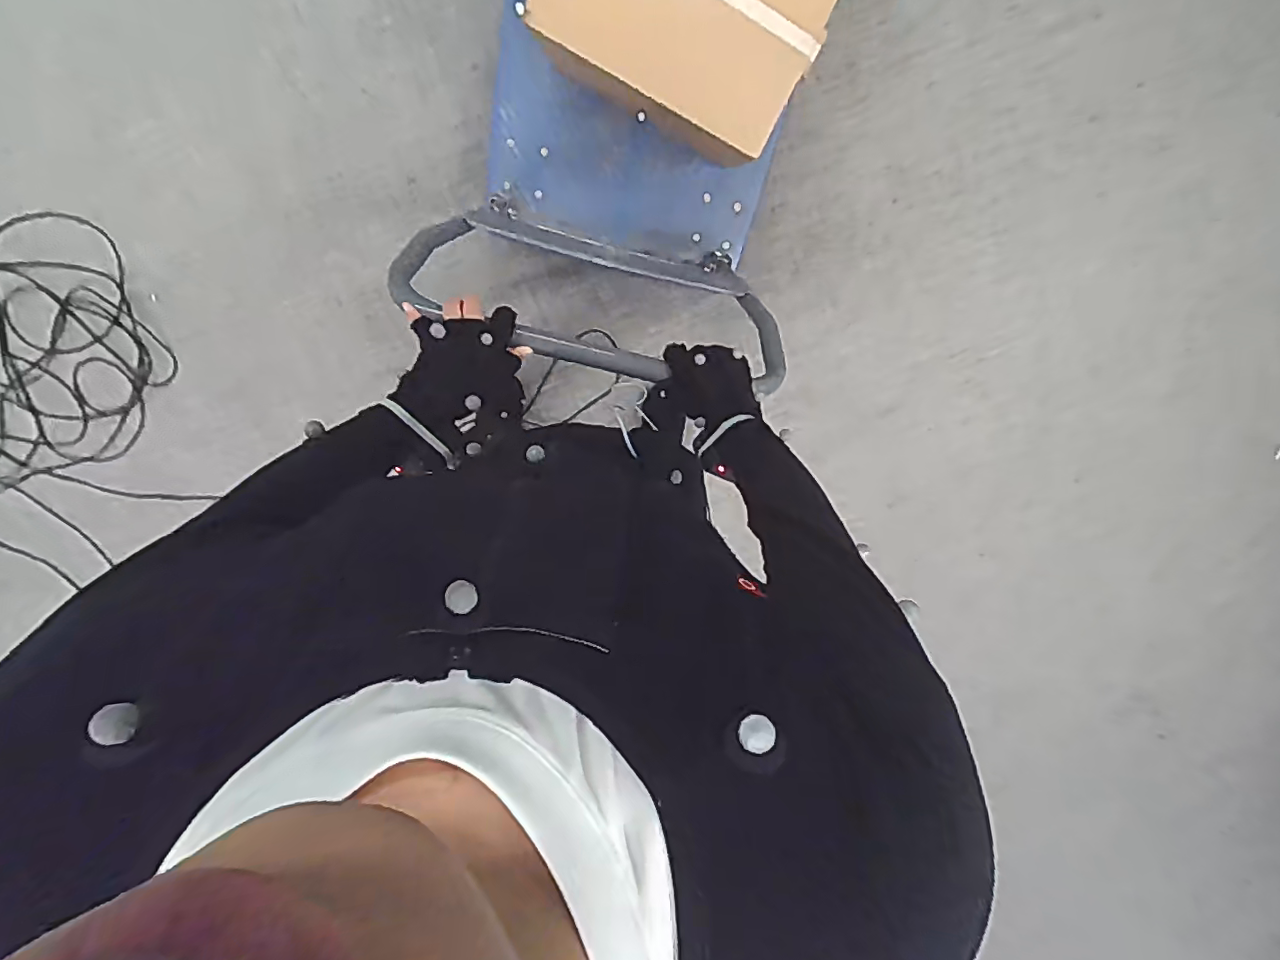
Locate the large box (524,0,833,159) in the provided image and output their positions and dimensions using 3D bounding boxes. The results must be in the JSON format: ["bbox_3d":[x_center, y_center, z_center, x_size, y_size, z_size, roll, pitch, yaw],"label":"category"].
[{"bbox_3d":[0.074,-0.785,0.895,0.408,0.320,0.320,23,115,-12],"label":"large box"}]
